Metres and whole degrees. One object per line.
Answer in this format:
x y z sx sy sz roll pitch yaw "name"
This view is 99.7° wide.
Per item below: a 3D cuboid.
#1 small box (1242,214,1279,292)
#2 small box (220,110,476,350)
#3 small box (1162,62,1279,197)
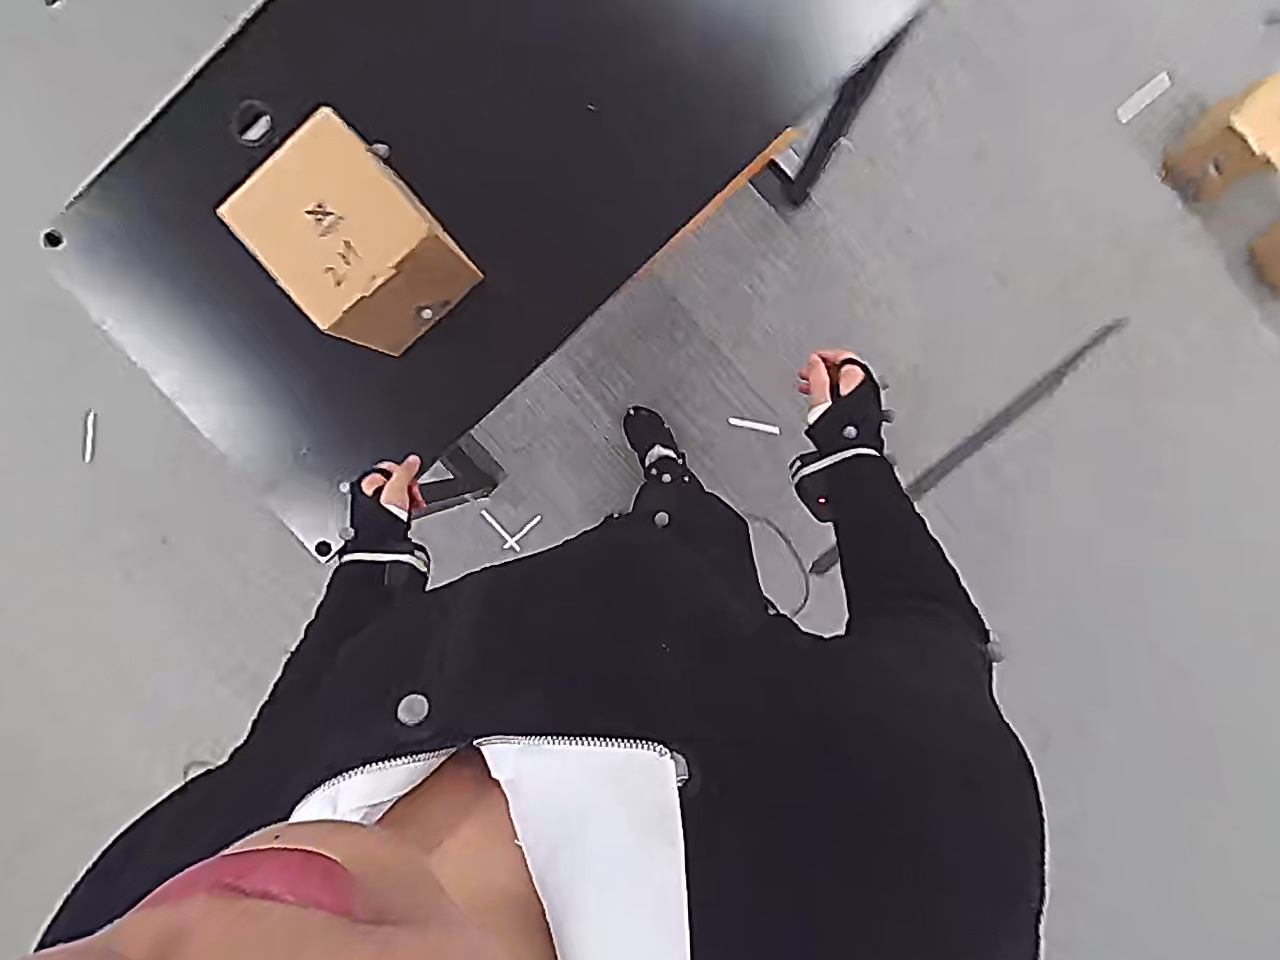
1.652 -0.585 1.310 0.168 0.176 0.179 -39 94 4 "small box"
-0.337 -0.283 0.660 0.168 0.176 0.179 -41 92 4 "small box"
1.427 -0.826 1.298 0.168 0.176 0.179 42 95 -1 "small box"
